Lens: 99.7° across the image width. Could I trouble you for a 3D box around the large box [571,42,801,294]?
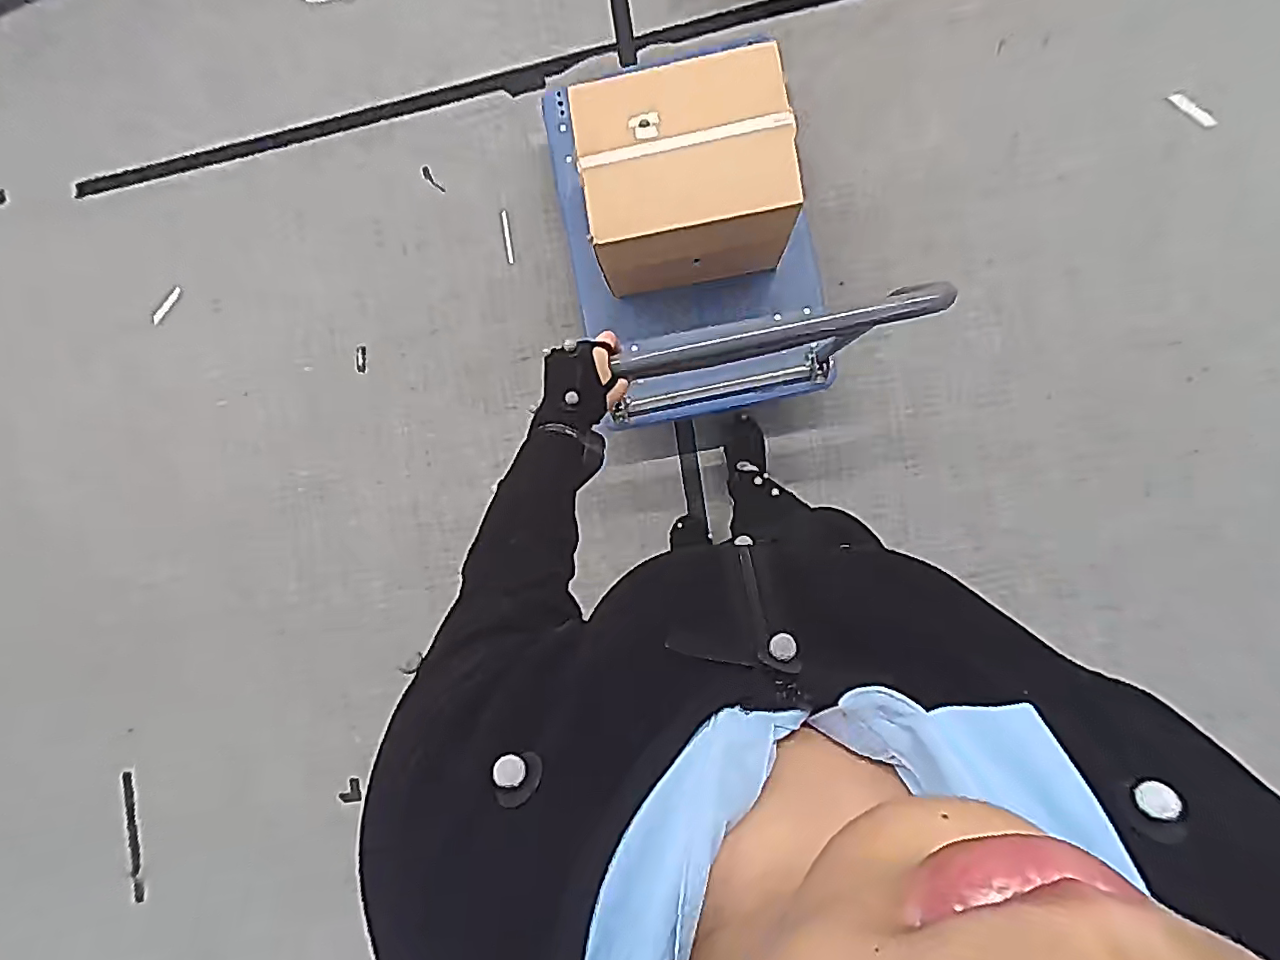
[{"bbox_3d":[0.099,-0.642,1.181,0.408,0.320,0.320,-10,88,6],"label":"large box"}]
